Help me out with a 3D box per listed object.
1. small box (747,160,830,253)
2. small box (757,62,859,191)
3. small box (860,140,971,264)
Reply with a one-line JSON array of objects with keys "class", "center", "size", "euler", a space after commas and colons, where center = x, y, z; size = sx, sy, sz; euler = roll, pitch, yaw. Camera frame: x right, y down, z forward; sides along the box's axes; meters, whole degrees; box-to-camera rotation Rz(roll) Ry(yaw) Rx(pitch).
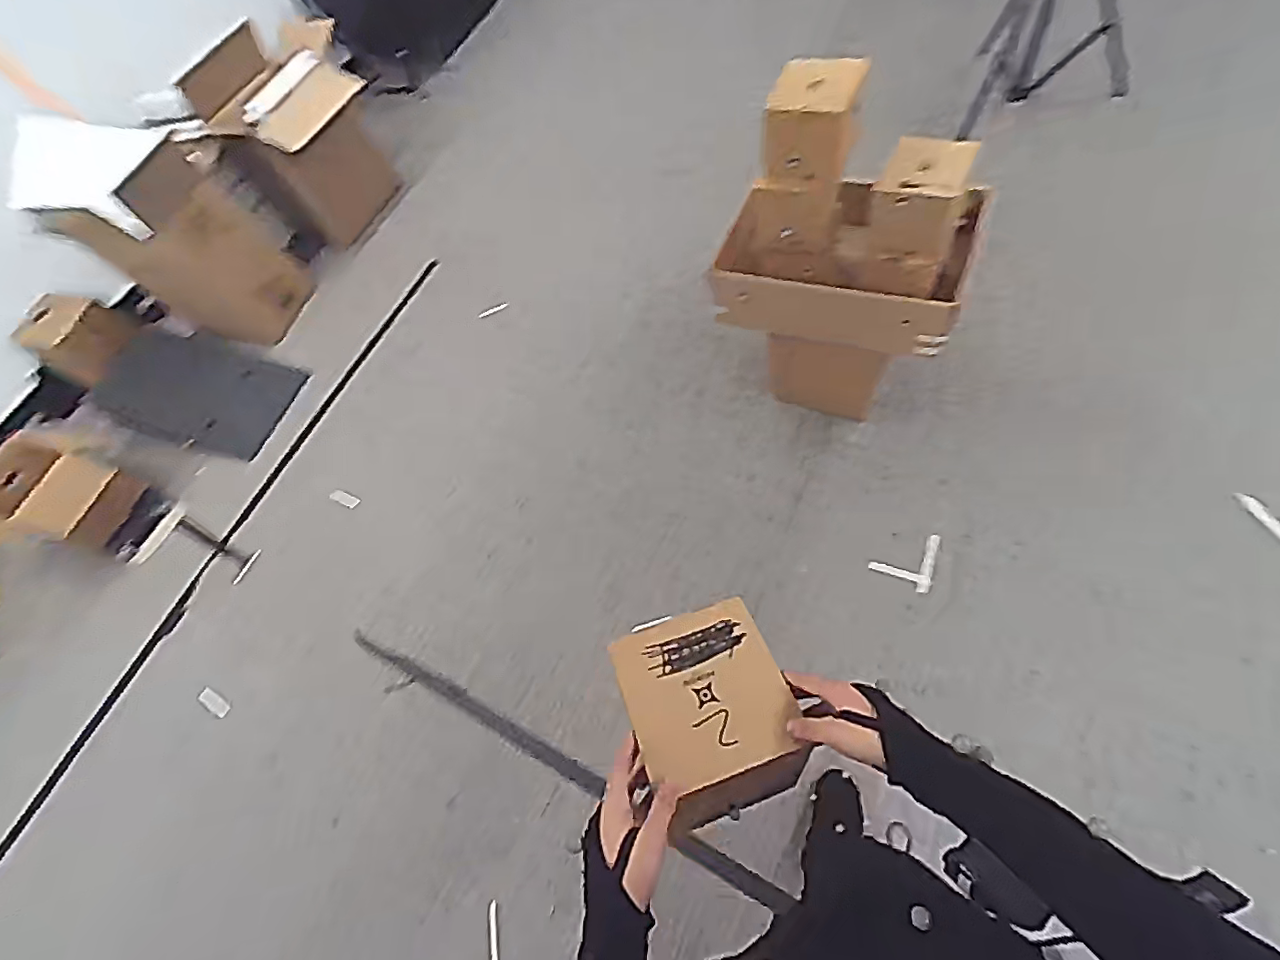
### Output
[{"class": "small box", "center": [0.364, -0.687, 1.318], "size": [0.168, 0.176, 0.179], "euler": [14, 68, 20]}, {"class": "small box", "center": [0.358, -0.764, 1.172], "size": [0.168, 0.176, 0.179], "euler": [17, 69, 21]}, {"class": "small box", "center": [0.607, -0.621, 1.210], "size": [0.168, 0.176, 0.179], "euler": [21, 70, 25]}]
